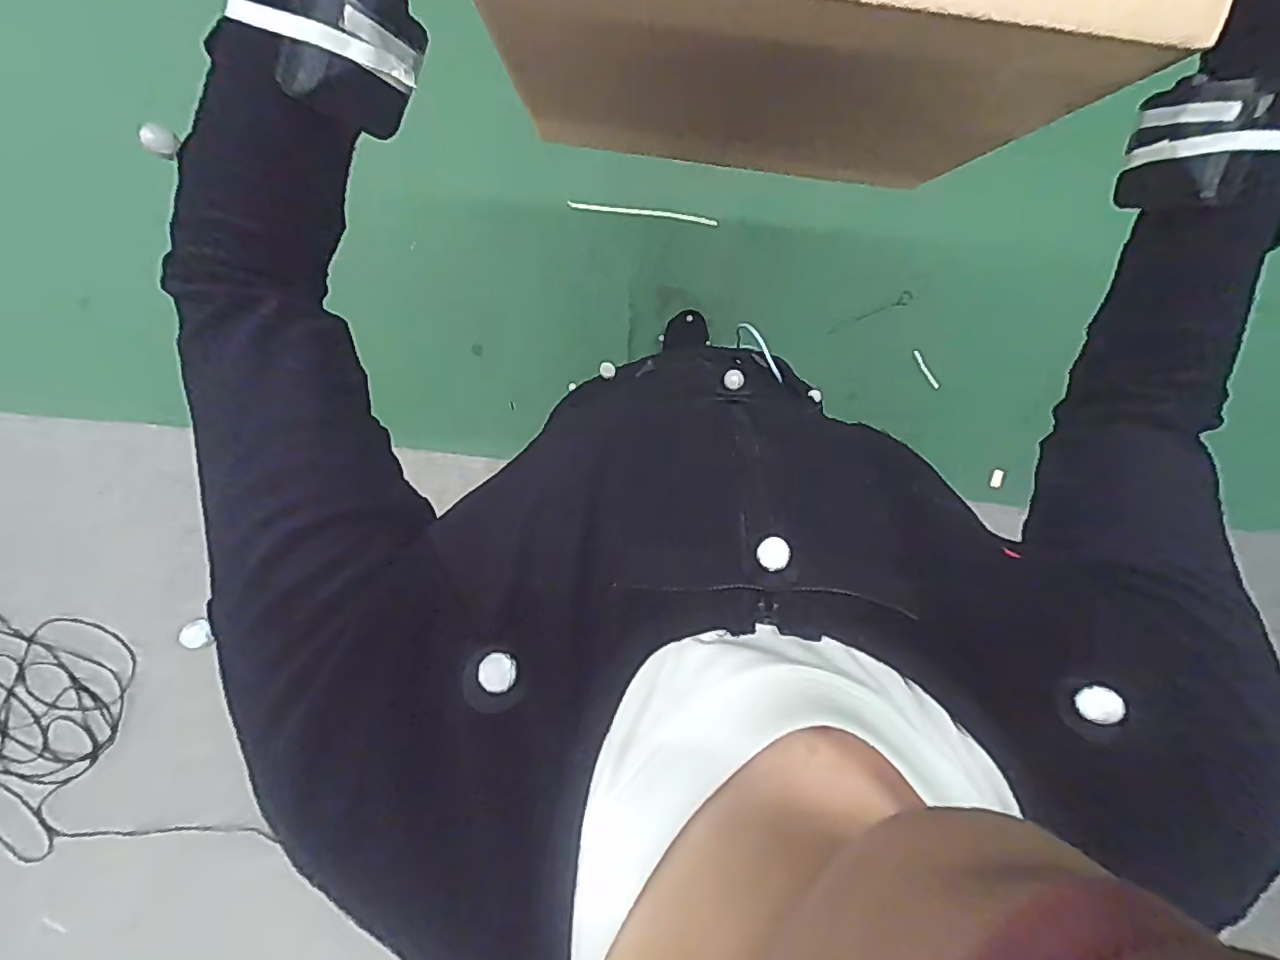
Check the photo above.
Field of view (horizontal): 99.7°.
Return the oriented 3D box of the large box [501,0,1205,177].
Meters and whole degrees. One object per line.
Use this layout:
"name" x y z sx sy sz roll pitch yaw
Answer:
"large box" 0.117 -0.445 0.392 0.408 0.320 0.320 5 106 -4
